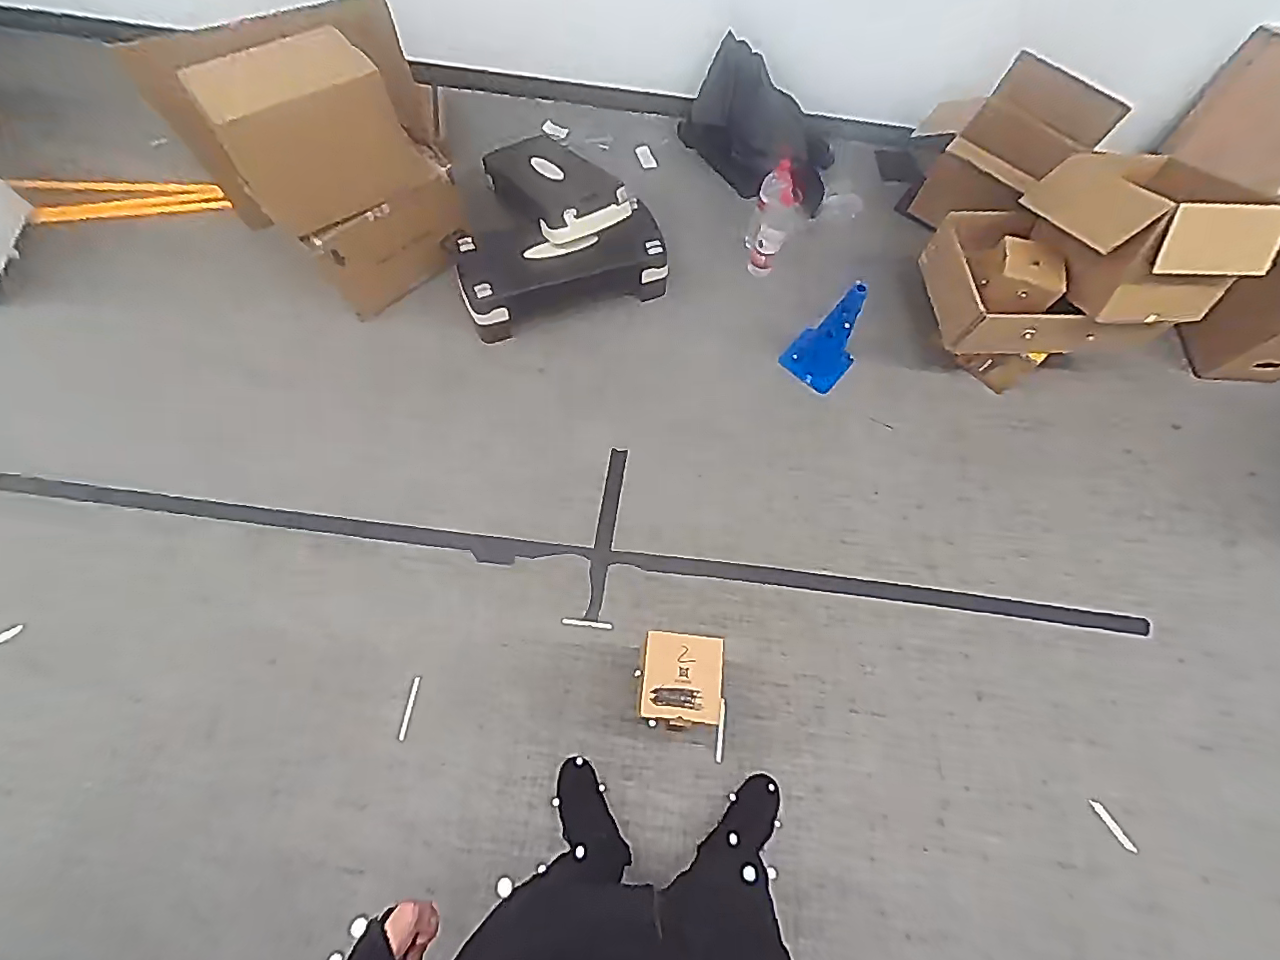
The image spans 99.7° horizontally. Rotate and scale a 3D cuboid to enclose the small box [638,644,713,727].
[{"bbox_3d":[0.085,0.516,1.359,0.168,0.176,0.179,5,69,-1],"label":"small box"}]
